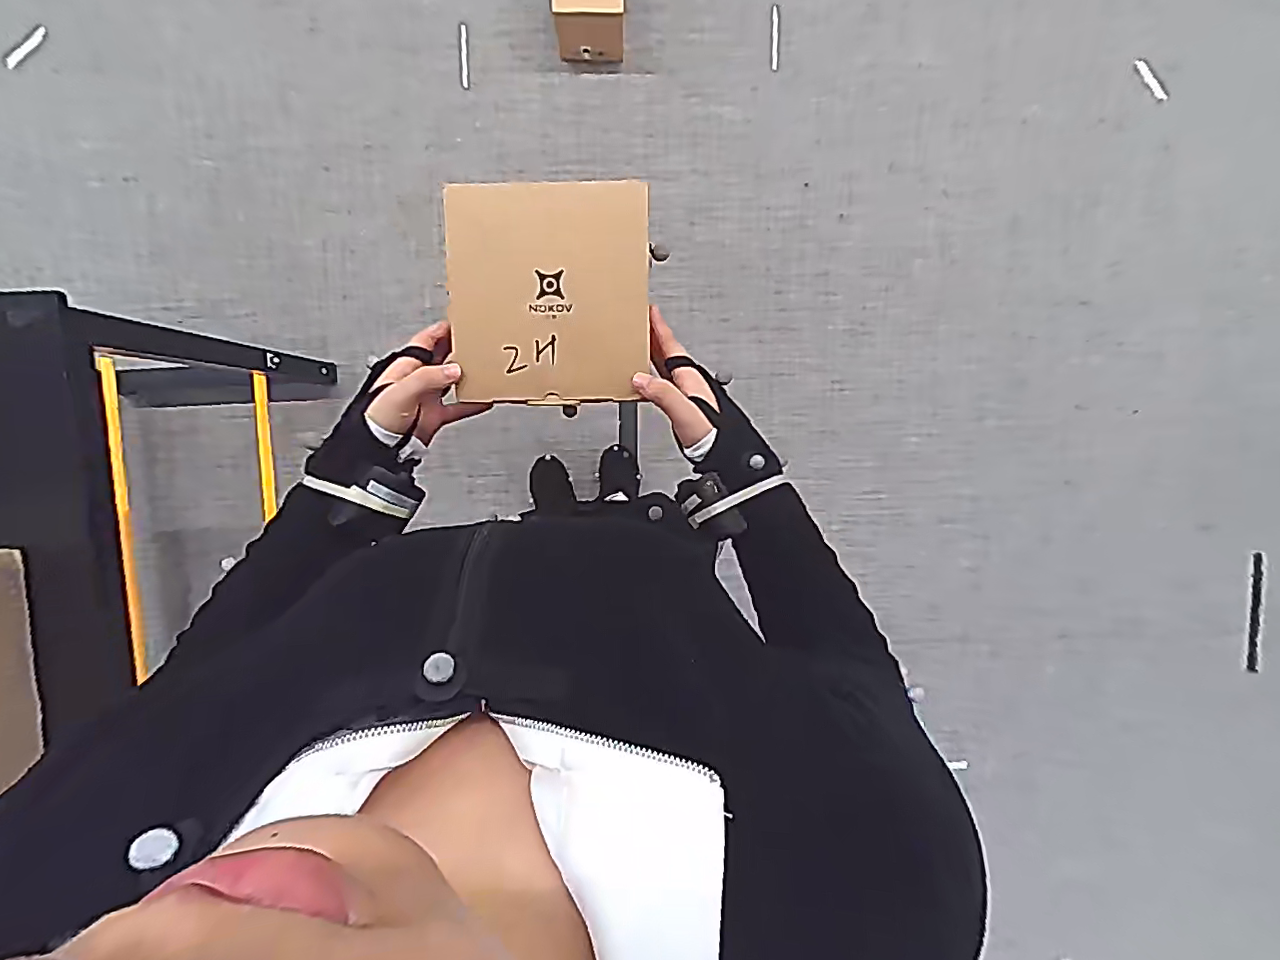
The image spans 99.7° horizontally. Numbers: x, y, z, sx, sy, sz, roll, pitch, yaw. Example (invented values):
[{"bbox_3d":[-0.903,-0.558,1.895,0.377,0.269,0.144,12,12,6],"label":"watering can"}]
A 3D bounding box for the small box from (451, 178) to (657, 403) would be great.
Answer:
[{"bbox_3d":[-0.068,-0.163,0.518,0.168,0.176,0.179,0,99,1],"label":"small box"}]

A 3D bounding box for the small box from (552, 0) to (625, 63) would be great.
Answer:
[{"bbox_3d":[-0.122,-1.153,1.301,0.168,0.176,0.179,-1,97,-1],"label":"small box"}]
